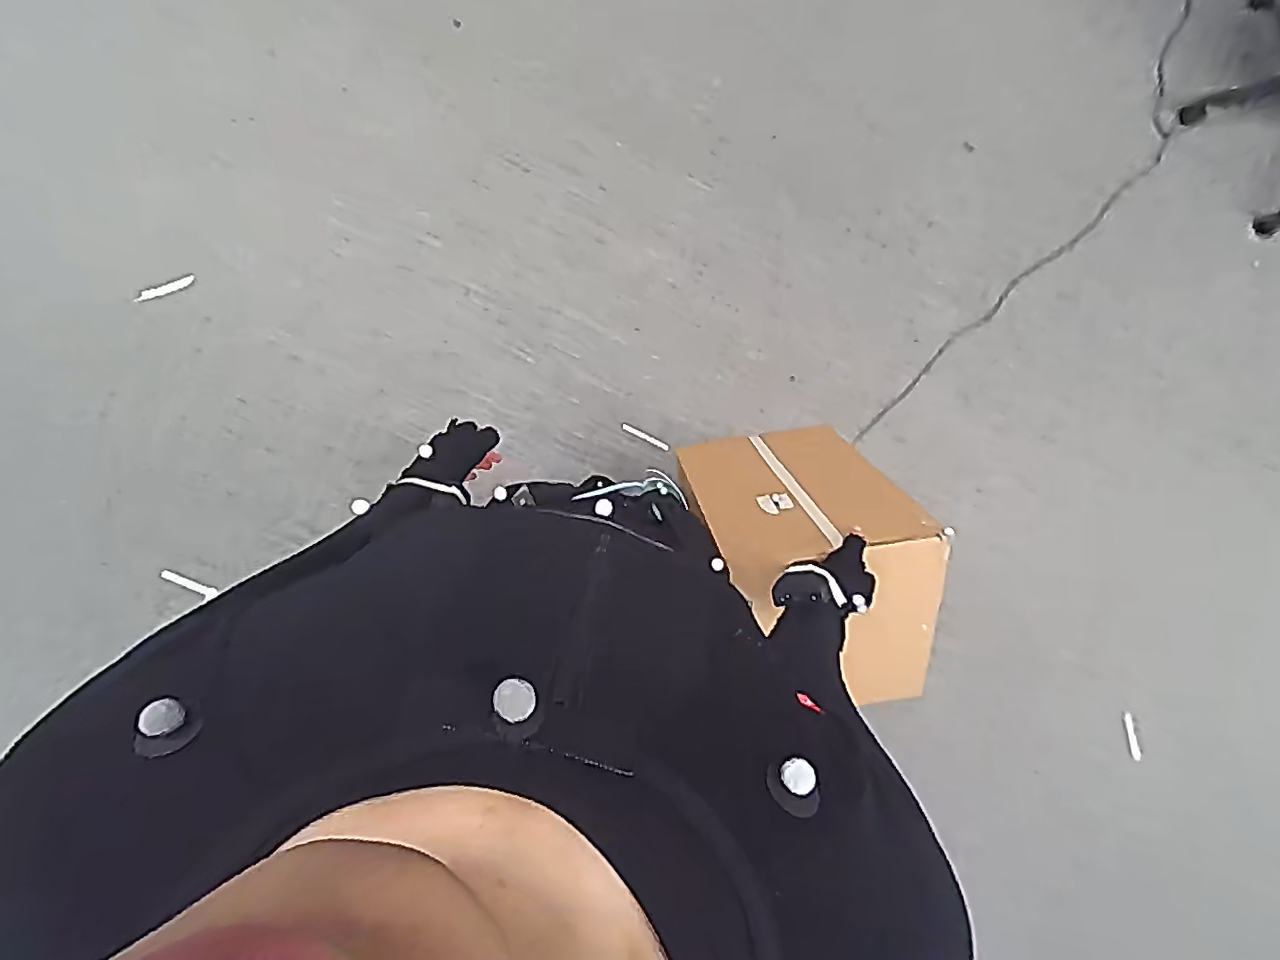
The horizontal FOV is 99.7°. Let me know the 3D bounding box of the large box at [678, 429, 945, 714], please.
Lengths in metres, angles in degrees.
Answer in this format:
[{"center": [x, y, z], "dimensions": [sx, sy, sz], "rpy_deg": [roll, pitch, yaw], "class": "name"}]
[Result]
[{"center": [0.262, 0.140, 0.980], "dimensions": [0.320, 0.408, 0.320], "rpy_deg": [-8, 119, -2], "class": "large box"}]
